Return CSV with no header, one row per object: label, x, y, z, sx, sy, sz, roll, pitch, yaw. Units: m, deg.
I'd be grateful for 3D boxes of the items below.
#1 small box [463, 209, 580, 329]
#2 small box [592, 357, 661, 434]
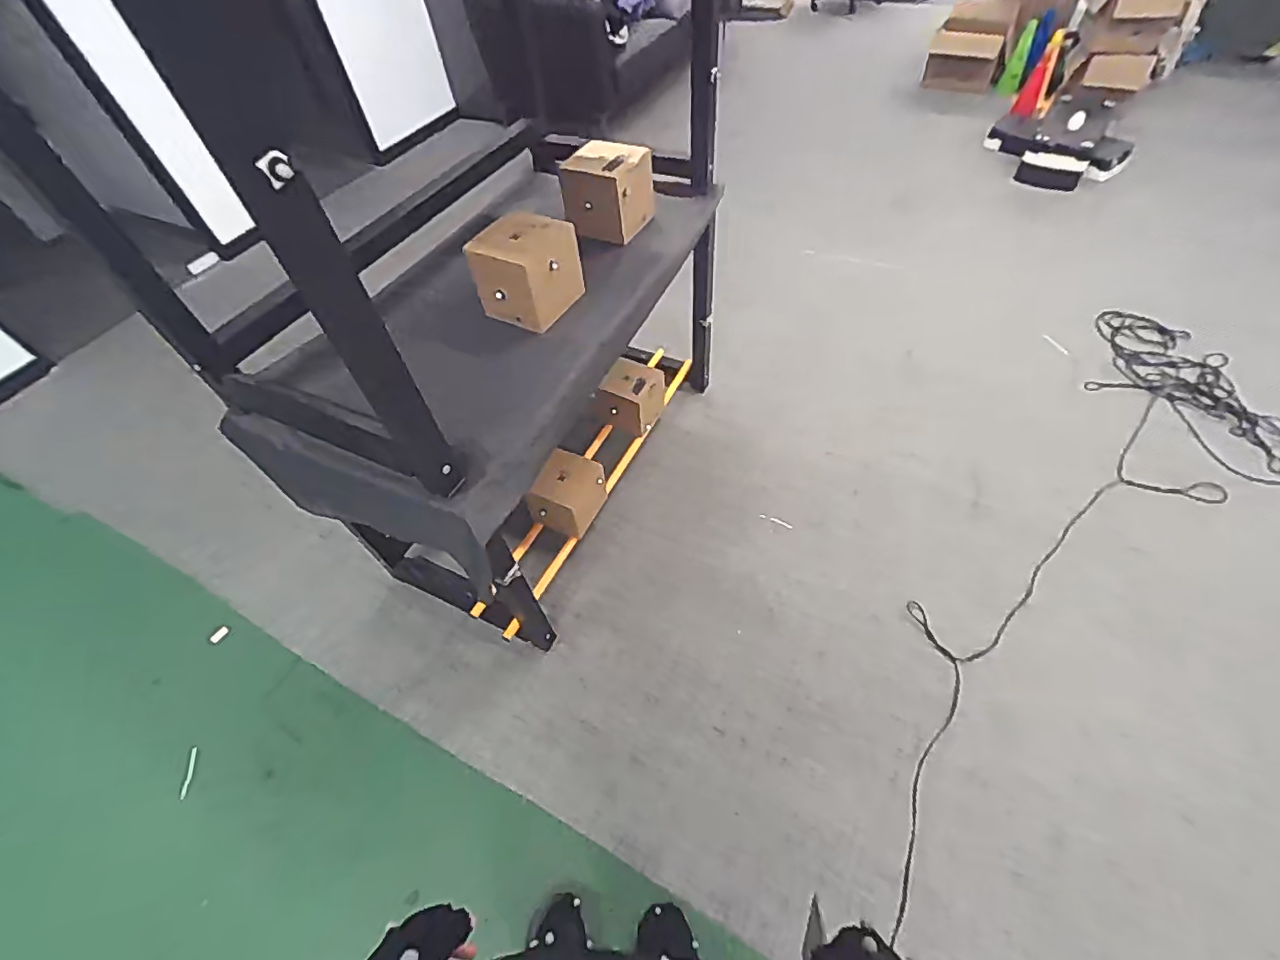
small box,-0.248,-0.459,1.187,0.168,0.176,0.179,23,58,20
small box,-0.038,-0.279,1.816,0.179,0.176,0.168,23,58,20
